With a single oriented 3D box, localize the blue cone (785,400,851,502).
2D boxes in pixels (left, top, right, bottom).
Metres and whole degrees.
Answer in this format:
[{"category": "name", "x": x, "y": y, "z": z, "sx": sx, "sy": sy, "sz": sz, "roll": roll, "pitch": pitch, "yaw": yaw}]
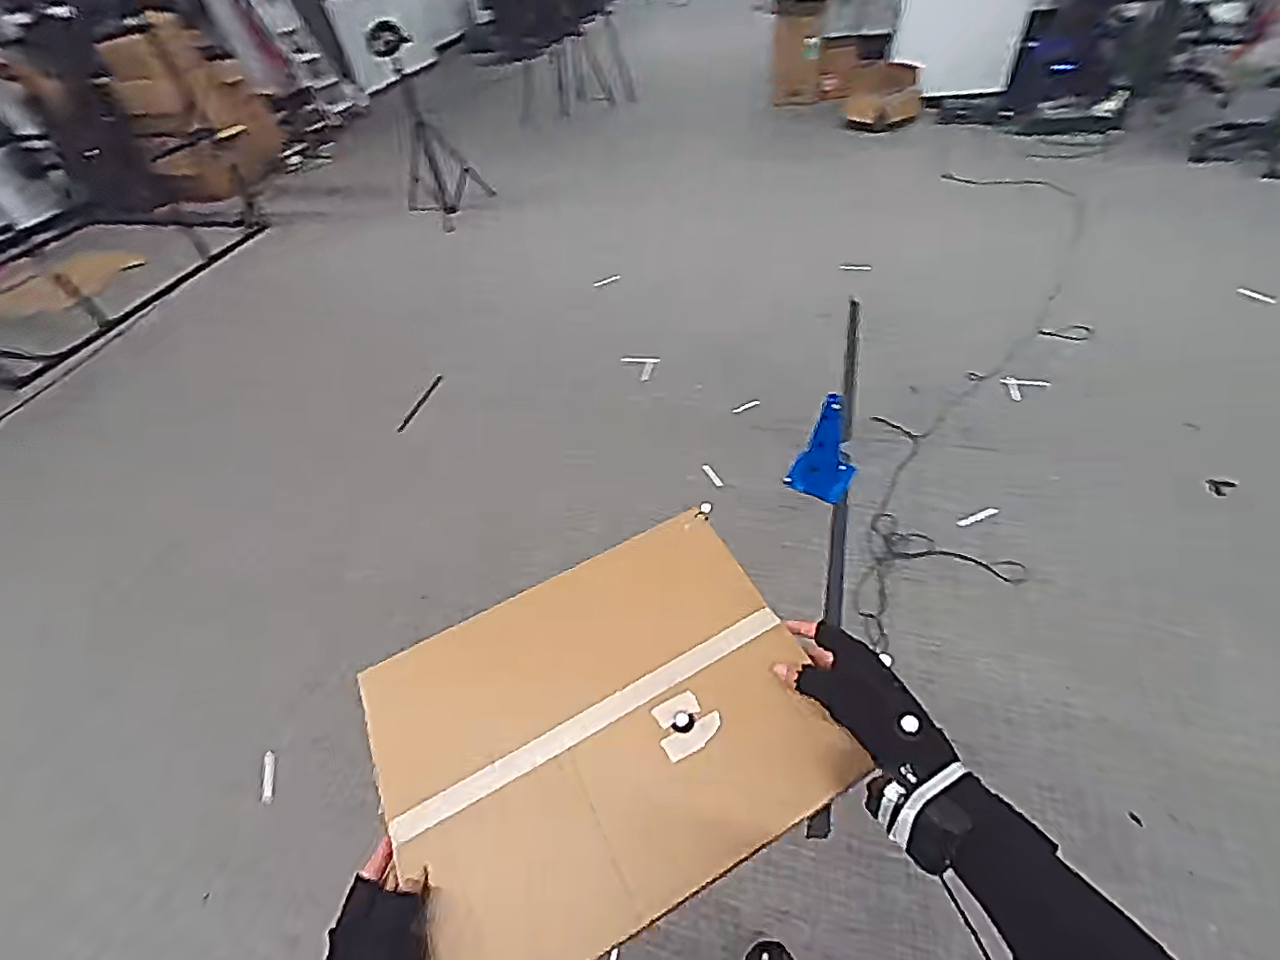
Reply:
[{"category": "blue cone", "x": 0.610, "y": -0.120, "z": 1.796, "sx": 0.193, "sy": 0.380, "sz": 0.192, "roll": 25, "pitch": 57, "yaw": 29}]
